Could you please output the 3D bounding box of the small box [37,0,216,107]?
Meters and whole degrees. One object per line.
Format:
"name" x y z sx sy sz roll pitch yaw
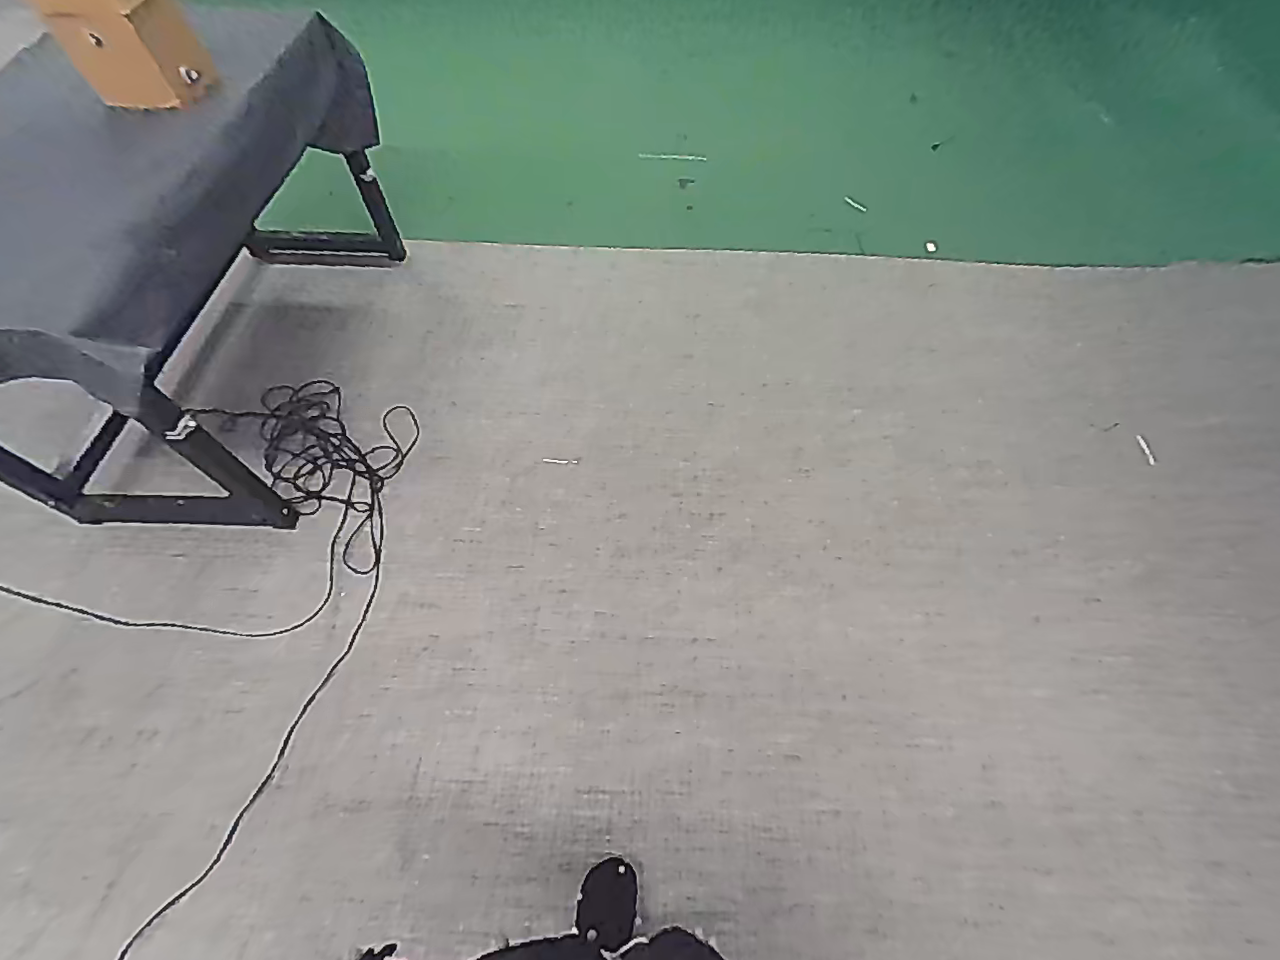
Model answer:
"small box" -1.058 -0.914 1.134 0.179 0.176 0.168 3 60 0

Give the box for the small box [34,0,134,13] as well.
"small box" -1.050 -0.992 0.992 0.179 0.176 0.168 1 60 2
